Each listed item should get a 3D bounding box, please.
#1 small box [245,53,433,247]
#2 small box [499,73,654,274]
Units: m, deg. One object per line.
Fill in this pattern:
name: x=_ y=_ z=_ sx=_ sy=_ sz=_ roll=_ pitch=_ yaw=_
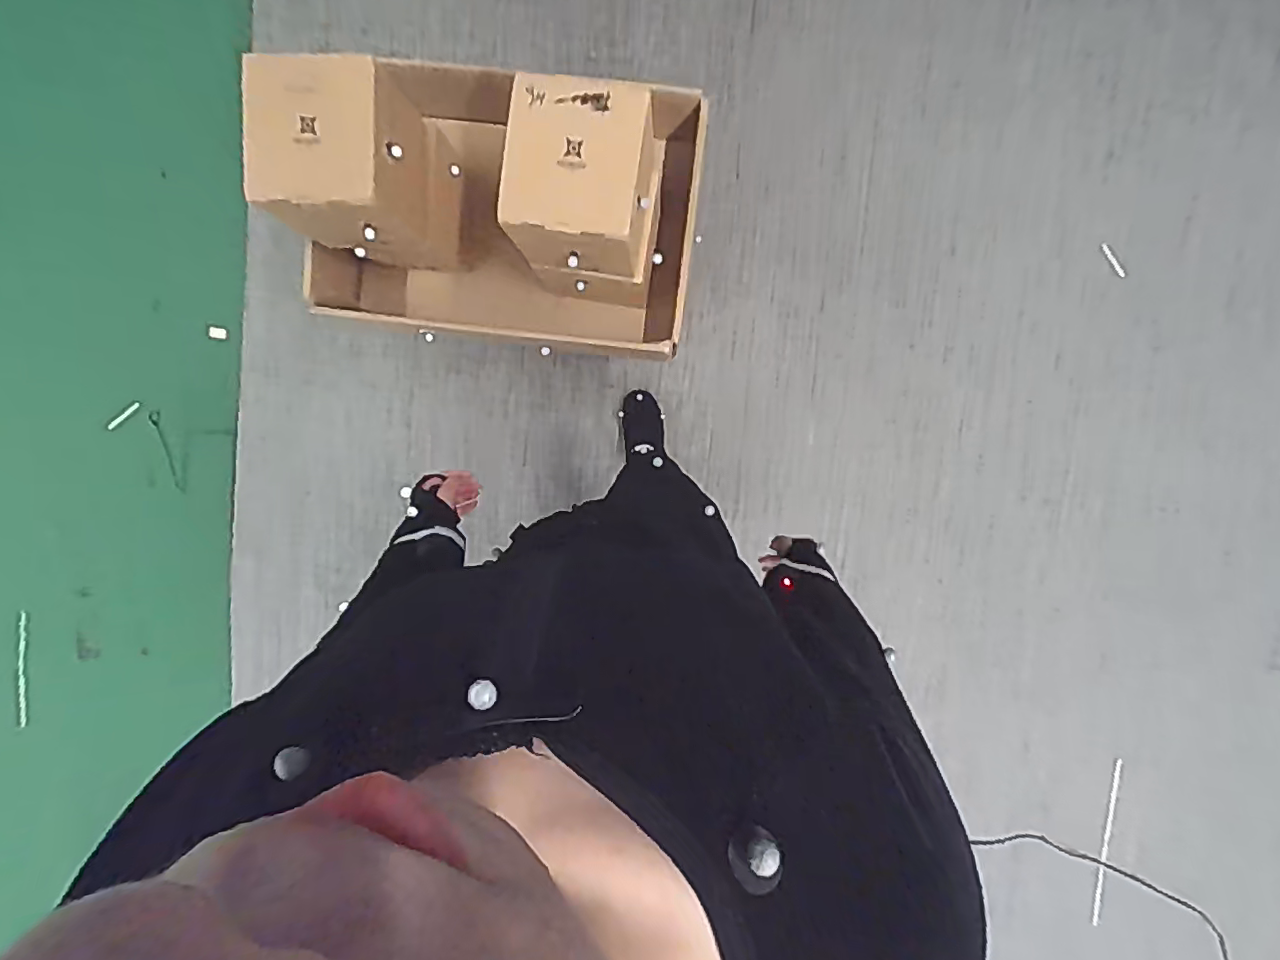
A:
small box: x=-0.398 y=-0.434 z=0.739 sx=0.168 sy=0.176 sz=0.179 roll=3 pitch=95 yaw=2
small box: x=-0.075 y=-0.392 z=0.723 sx=0.168 sy=0.176 sz=0.179 roll=9 pitch=96 yaw=2
